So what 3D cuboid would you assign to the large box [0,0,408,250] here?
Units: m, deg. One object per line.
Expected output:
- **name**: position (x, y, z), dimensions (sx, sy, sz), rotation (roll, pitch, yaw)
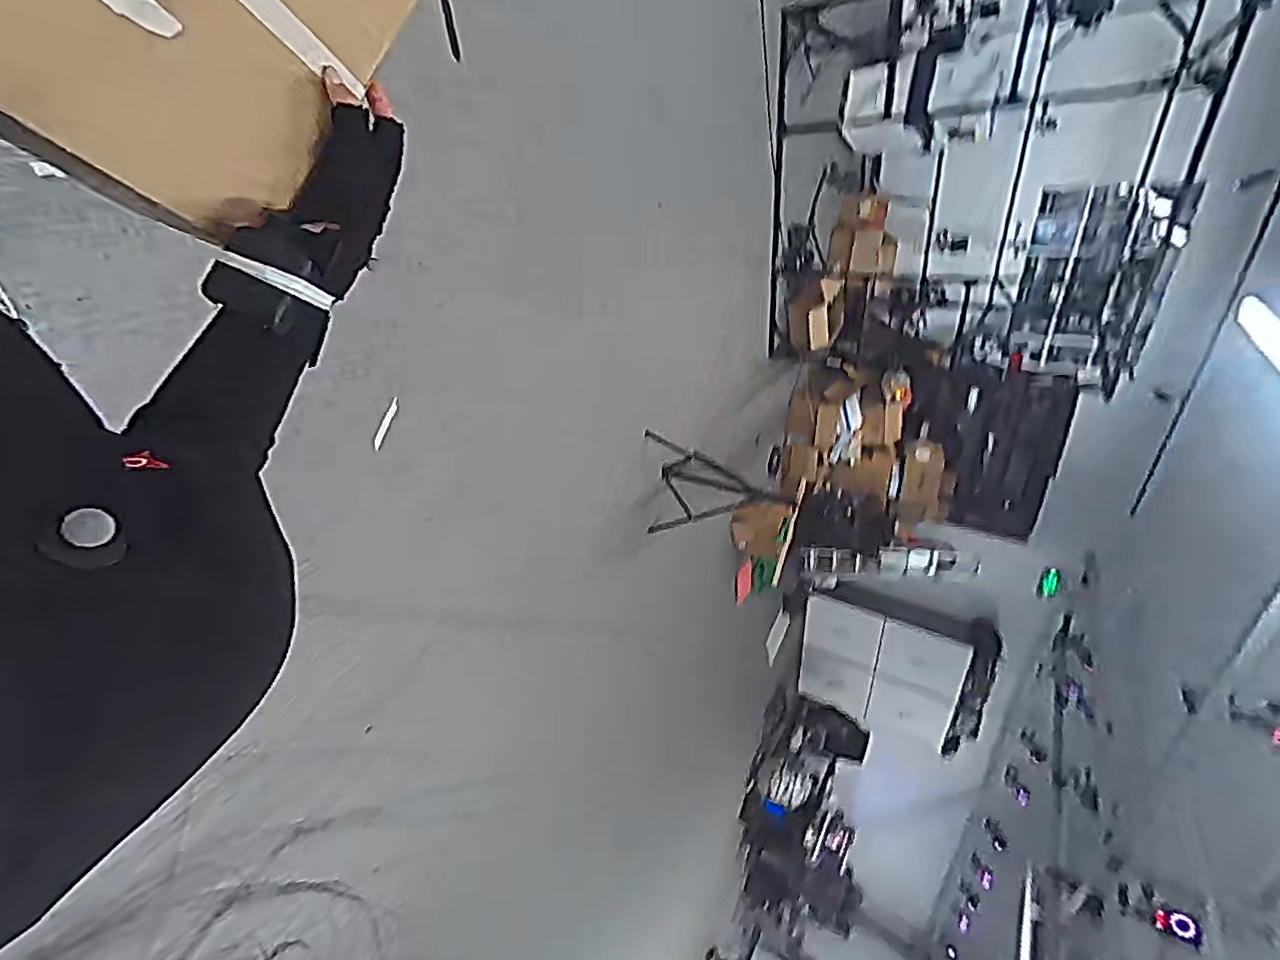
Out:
- **large box**: position (-0.441, -0.426, 0.355), dimensions (0.320, 0.320, 0.408), rotation (-62, 150, -2)
